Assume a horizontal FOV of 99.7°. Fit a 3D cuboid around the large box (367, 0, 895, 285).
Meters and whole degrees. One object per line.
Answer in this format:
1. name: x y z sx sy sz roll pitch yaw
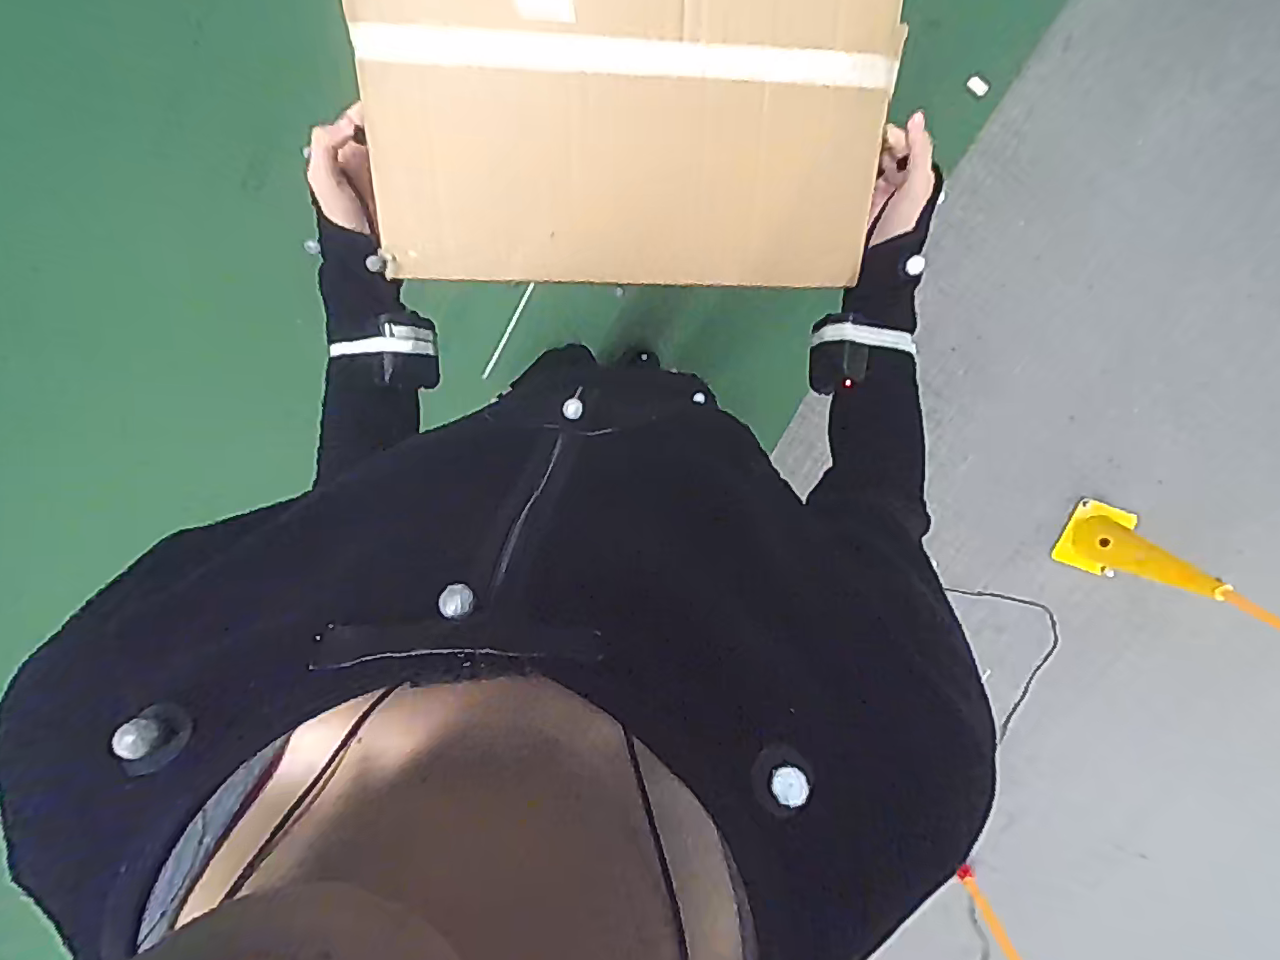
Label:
1. large box: -0.013 -0.376 0.557 0.408 0.320 0.320 0 111 -5
